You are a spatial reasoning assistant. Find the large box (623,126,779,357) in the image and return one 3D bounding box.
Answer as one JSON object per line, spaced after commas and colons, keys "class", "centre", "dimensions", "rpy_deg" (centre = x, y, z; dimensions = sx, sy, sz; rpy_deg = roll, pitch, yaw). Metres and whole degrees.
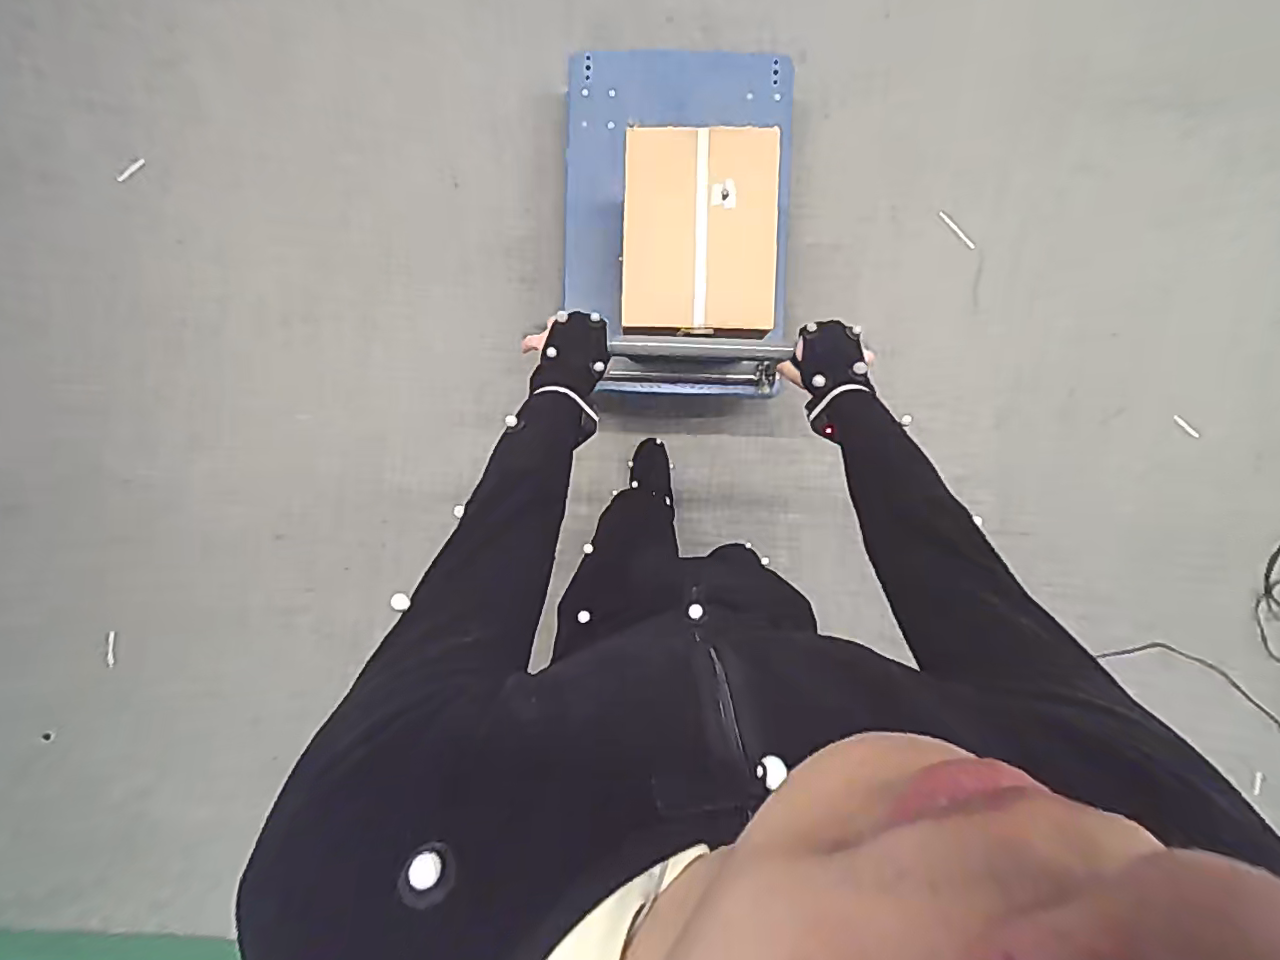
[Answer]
{"class": "large box", "centre": [0.126, -0.509, 1.233], "dimensions": [0.320, 0.320, 0.408], "rpy_deg": [2, 91, 0]}
